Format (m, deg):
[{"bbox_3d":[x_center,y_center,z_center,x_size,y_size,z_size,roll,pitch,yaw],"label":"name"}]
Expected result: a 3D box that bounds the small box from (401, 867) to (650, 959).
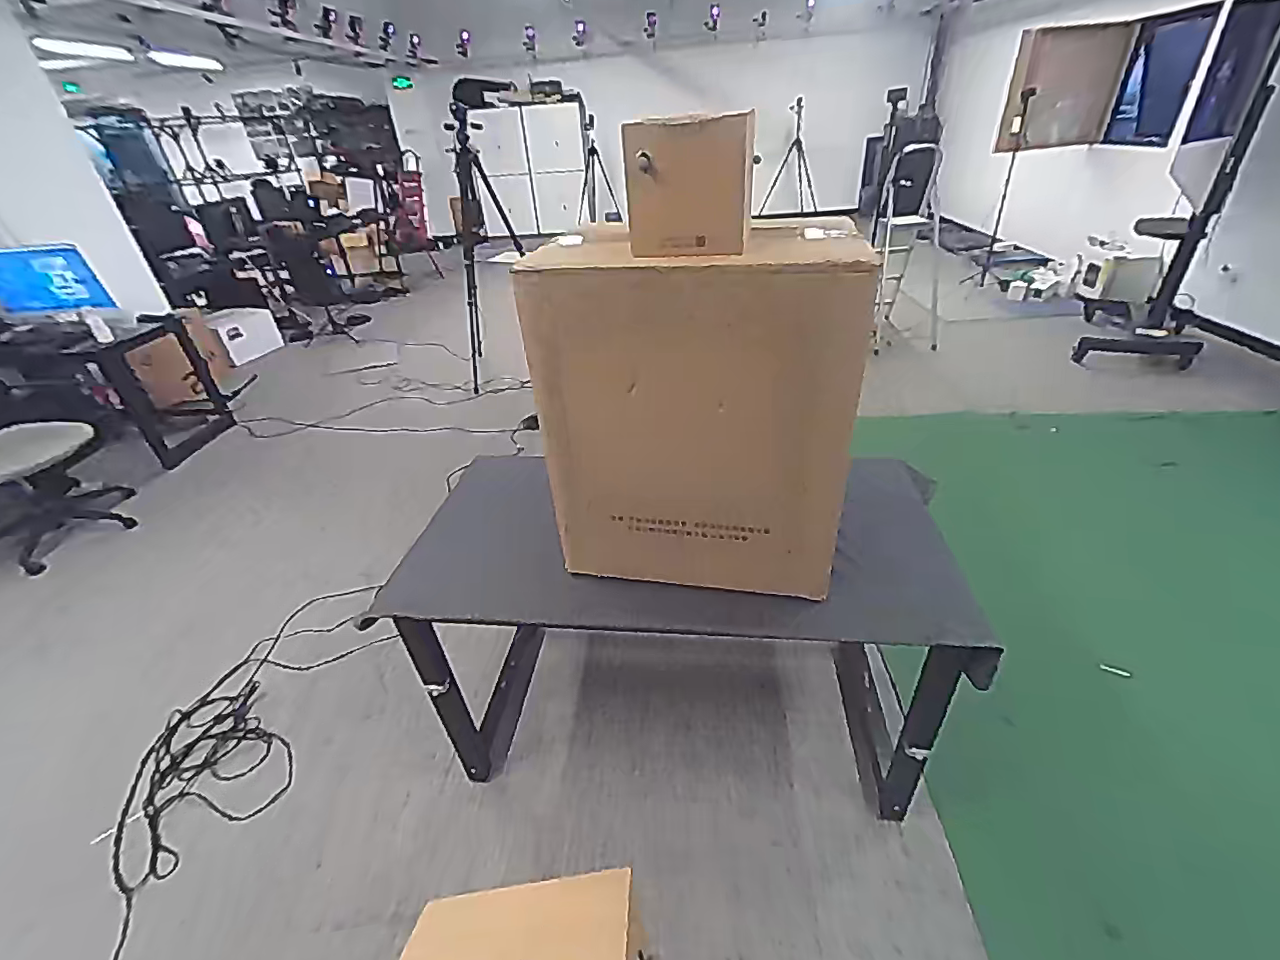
[{"bbox_3d":[-0.074,0.405,0.351,0.168,0.176,0.179,-11,6,3],"label":"small box"}]
